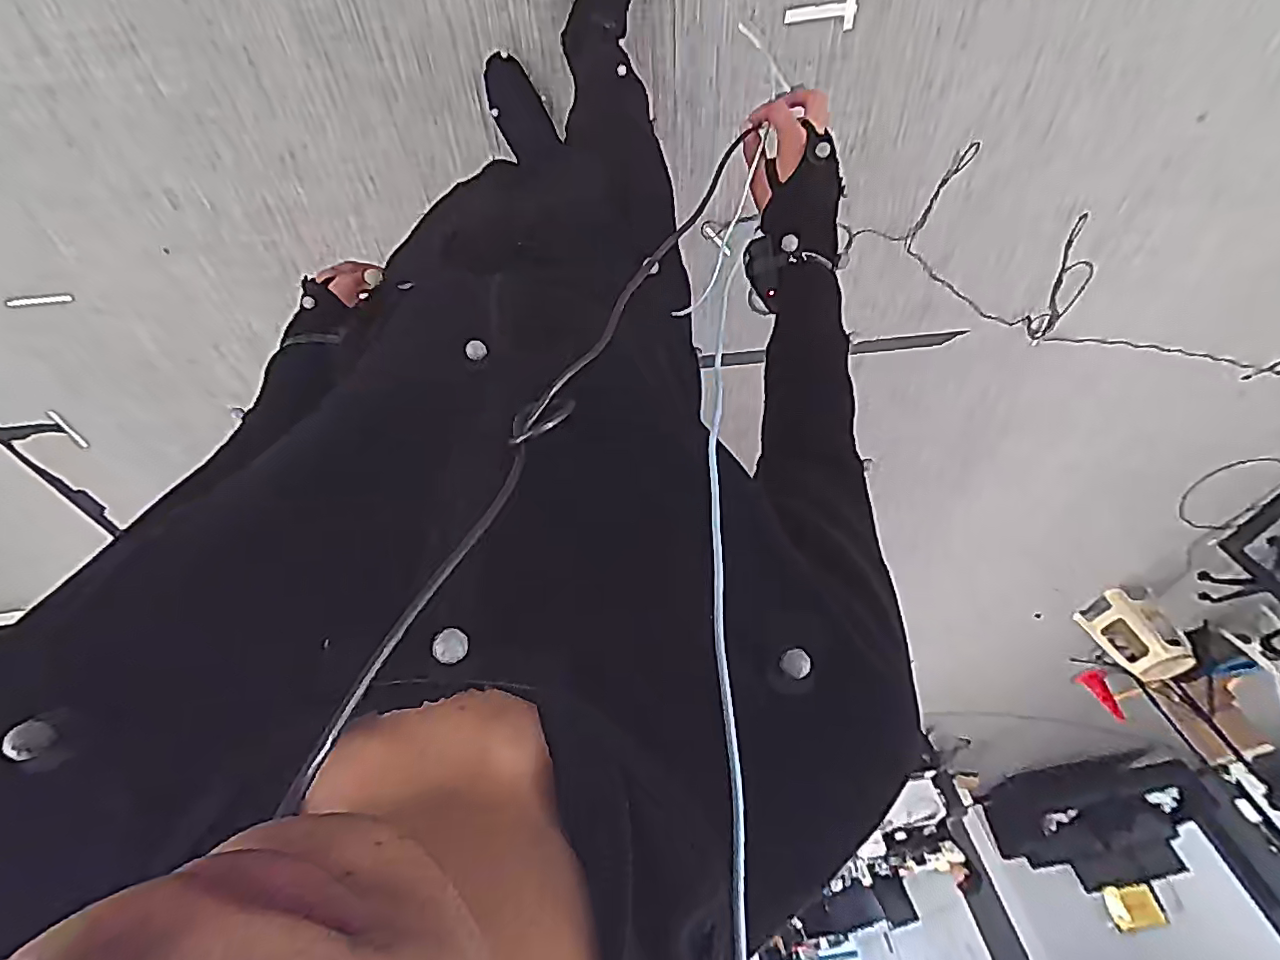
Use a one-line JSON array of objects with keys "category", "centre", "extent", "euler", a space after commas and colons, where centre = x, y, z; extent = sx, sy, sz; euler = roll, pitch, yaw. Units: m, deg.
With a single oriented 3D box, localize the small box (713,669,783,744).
[{"category": "small box", "centre": [0.340, 0.731, 1.750], "extent": [0.179, 0.176, 0.168], "euler": [-5, 136, -5]}]
